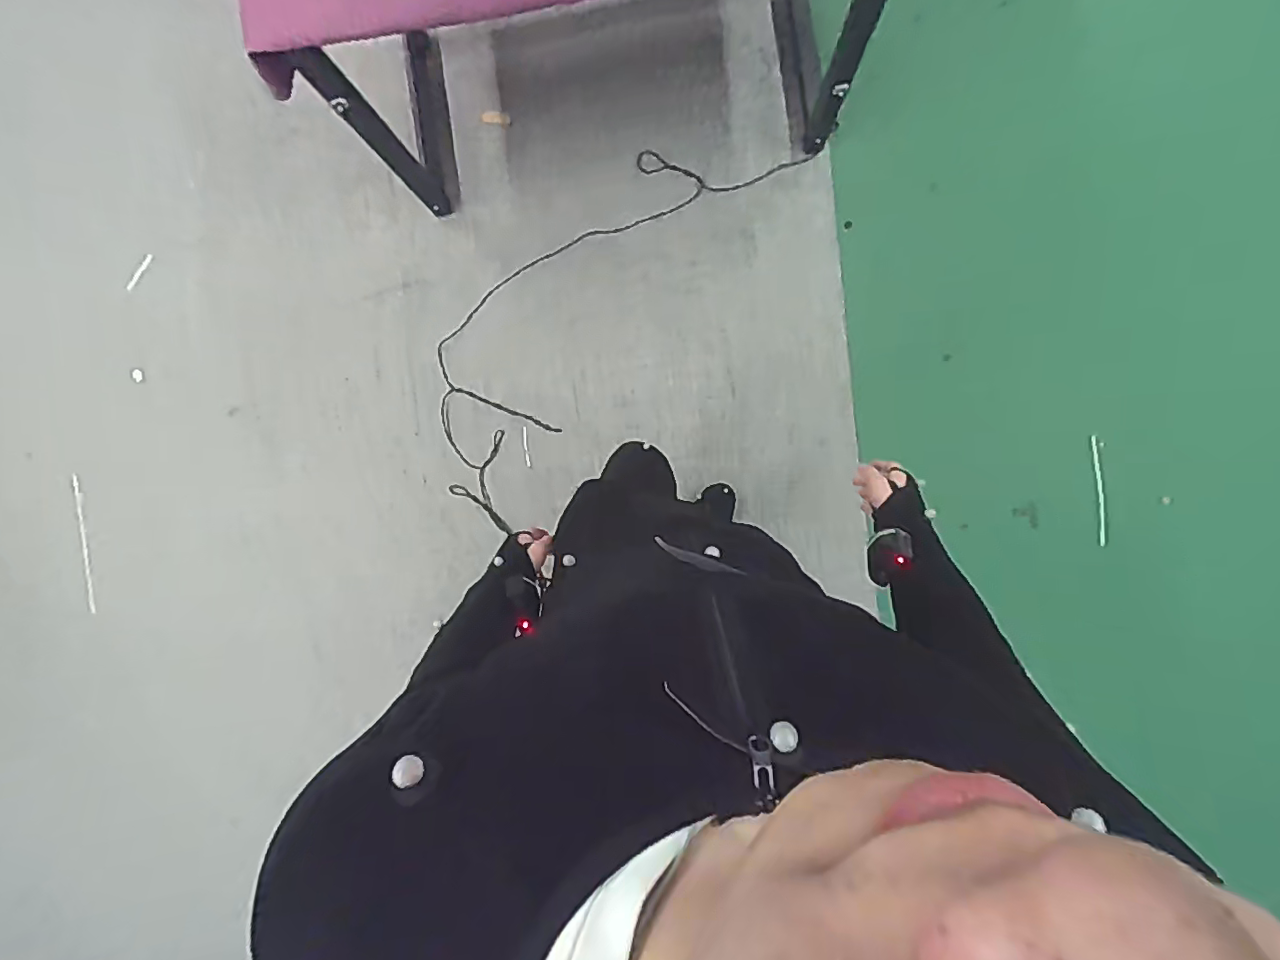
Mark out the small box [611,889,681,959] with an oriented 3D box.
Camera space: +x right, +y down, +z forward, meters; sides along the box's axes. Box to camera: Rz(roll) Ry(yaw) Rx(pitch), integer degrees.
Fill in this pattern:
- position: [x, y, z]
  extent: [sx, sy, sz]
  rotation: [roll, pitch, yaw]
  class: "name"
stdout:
- position: [0.023, 1.331, 1.554]
  extent: [0.168, 0.176, 0.179]
  rotation: [-11, 90, 5]
  class: "small box"
